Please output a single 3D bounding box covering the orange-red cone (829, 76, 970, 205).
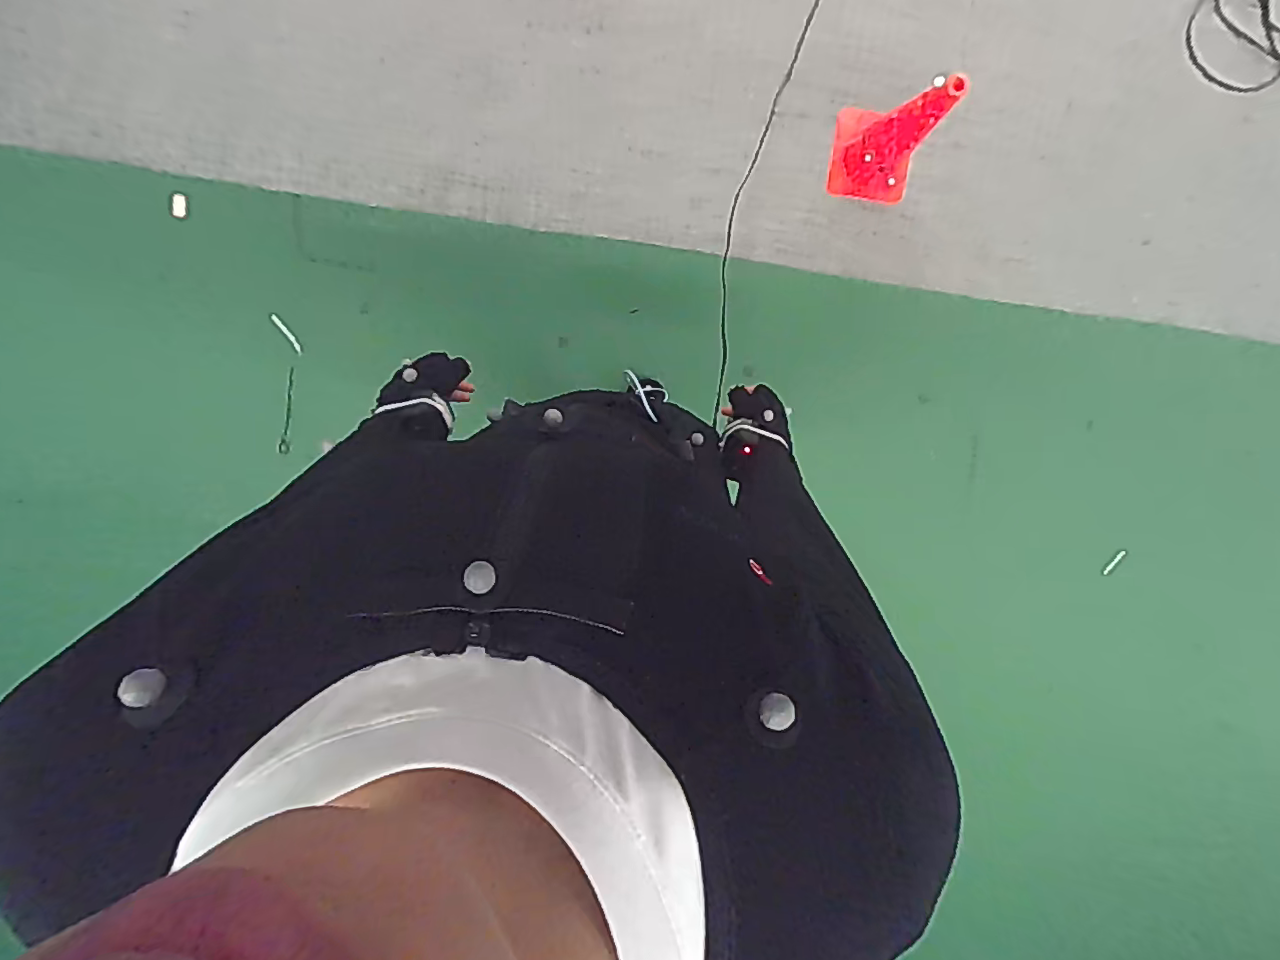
[{"bbox_3d":[0.589,-0.774,1.185,0.198,0.360,0.199,7,100,-5],"label":"orange-red cone"}]
